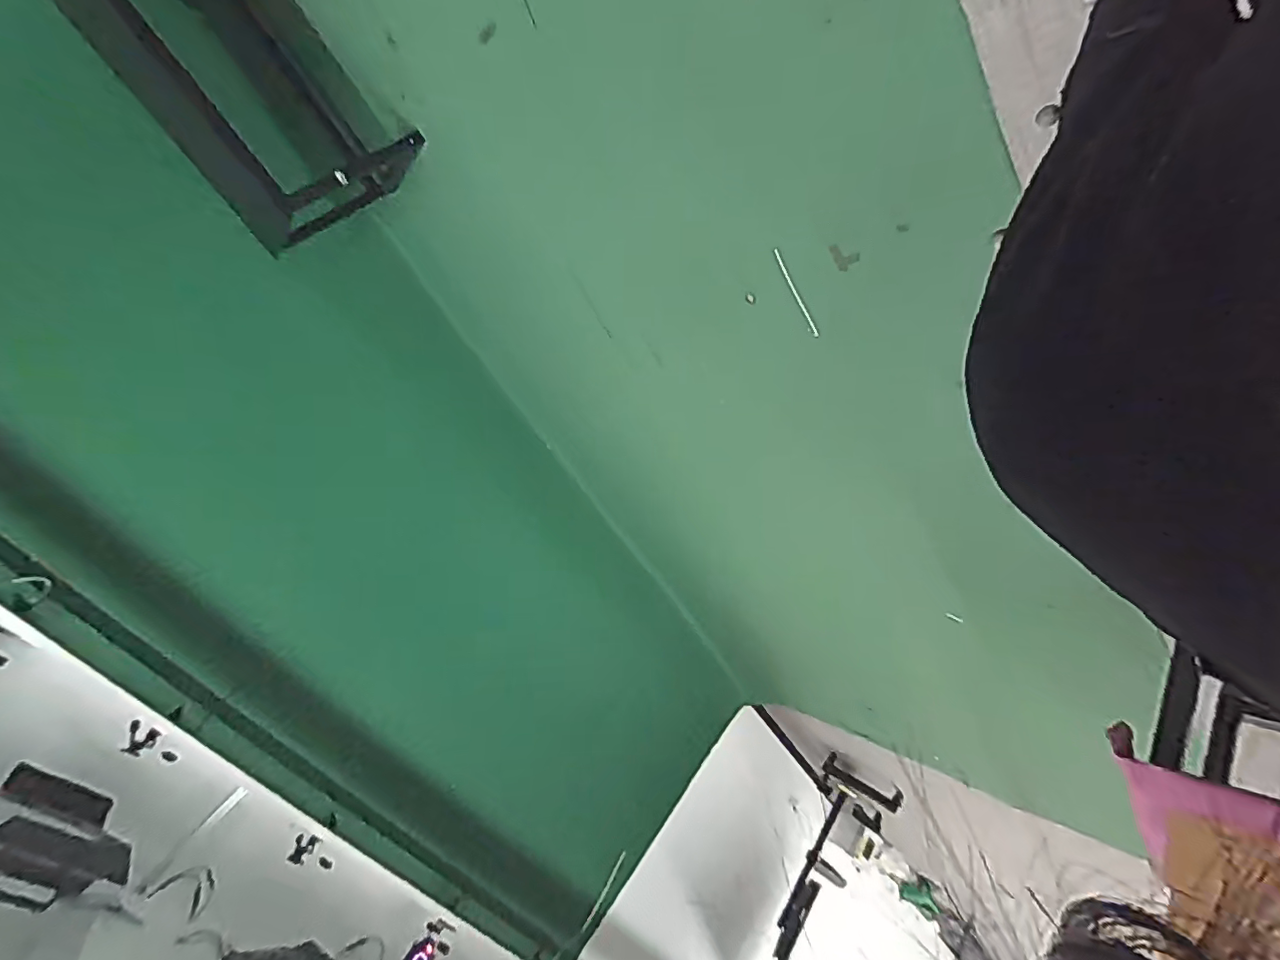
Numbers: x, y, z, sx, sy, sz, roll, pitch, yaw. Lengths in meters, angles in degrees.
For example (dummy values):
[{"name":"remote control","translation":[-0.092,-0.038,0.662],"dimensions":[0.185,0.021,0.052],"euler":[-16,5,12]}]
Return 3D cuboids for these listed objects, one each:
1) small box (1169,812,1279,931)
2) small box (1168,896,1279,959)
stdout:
[{"name":"small box","translation":[1.200,0.799,1.068],"dimensions":[0.168,0.176,0.179],"euler":[52,153,-18]},{"name":"small box","translation":[1.110,0.914,0.991],"dimensions":[0.179,0.176,0.168],"euler":[1,132,54]}]
